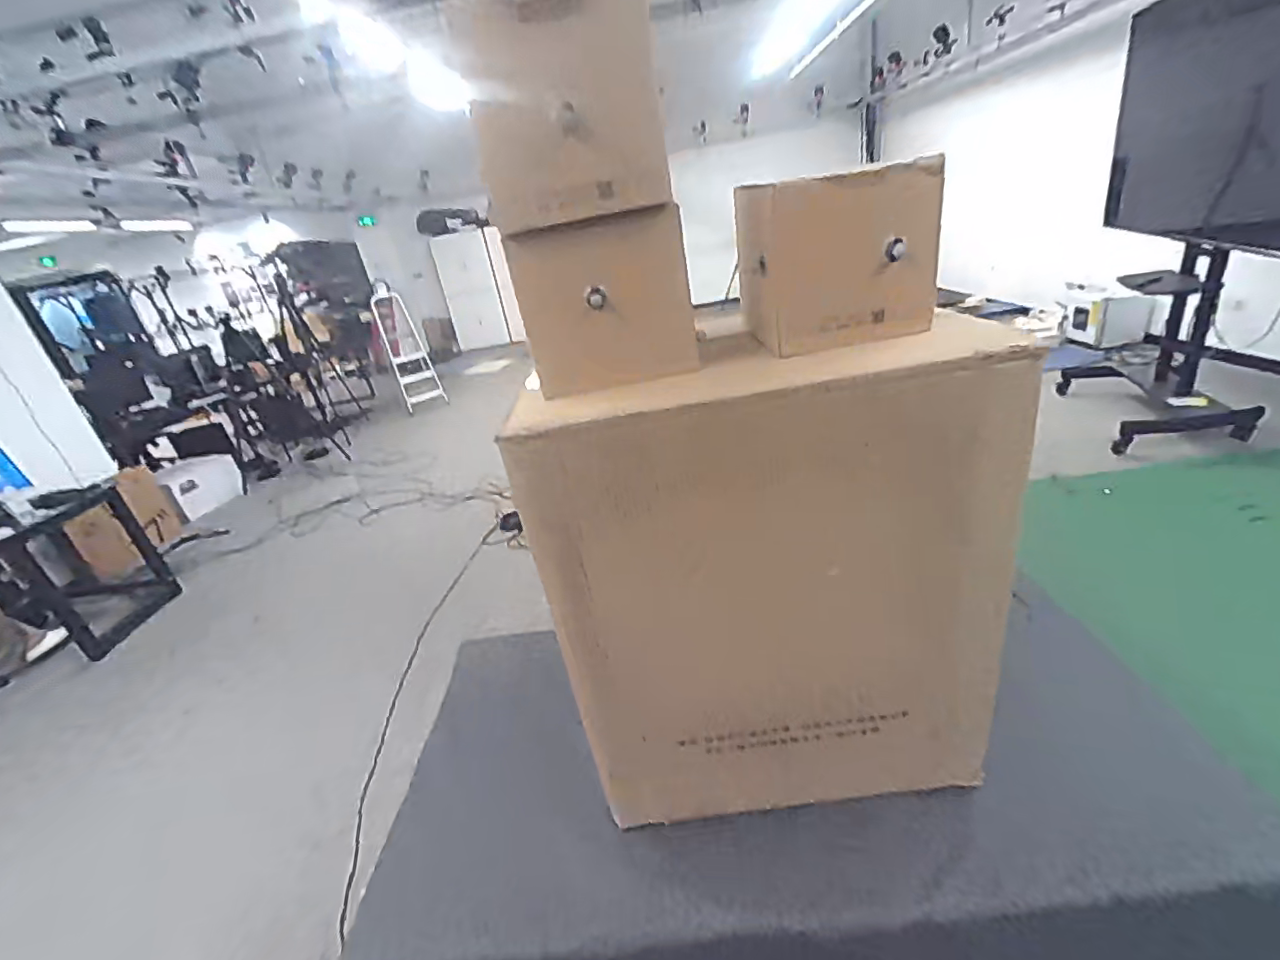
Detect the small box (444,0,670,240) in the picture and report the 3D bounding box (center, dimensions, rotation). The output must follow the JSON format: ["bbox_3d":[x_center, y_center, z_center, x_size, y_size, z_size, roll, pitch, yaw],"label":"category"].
[{"bbox_3d":[-0.069,-0.347,0.543,0.168,0.176,0.179,-11,28,2],"label":"small box"}]

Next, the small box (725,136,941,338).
[{"bbox_3d":[0.204,-0.267,0.607,0.168,0.176,0.179,-12,29,-3],"label":"small box"}]

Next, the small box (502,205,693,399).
[{"bbox_3d":[-0.039,-0.210,0.626,0.179,0.176,0.168,-12,27,2],"label":"small box"}]
